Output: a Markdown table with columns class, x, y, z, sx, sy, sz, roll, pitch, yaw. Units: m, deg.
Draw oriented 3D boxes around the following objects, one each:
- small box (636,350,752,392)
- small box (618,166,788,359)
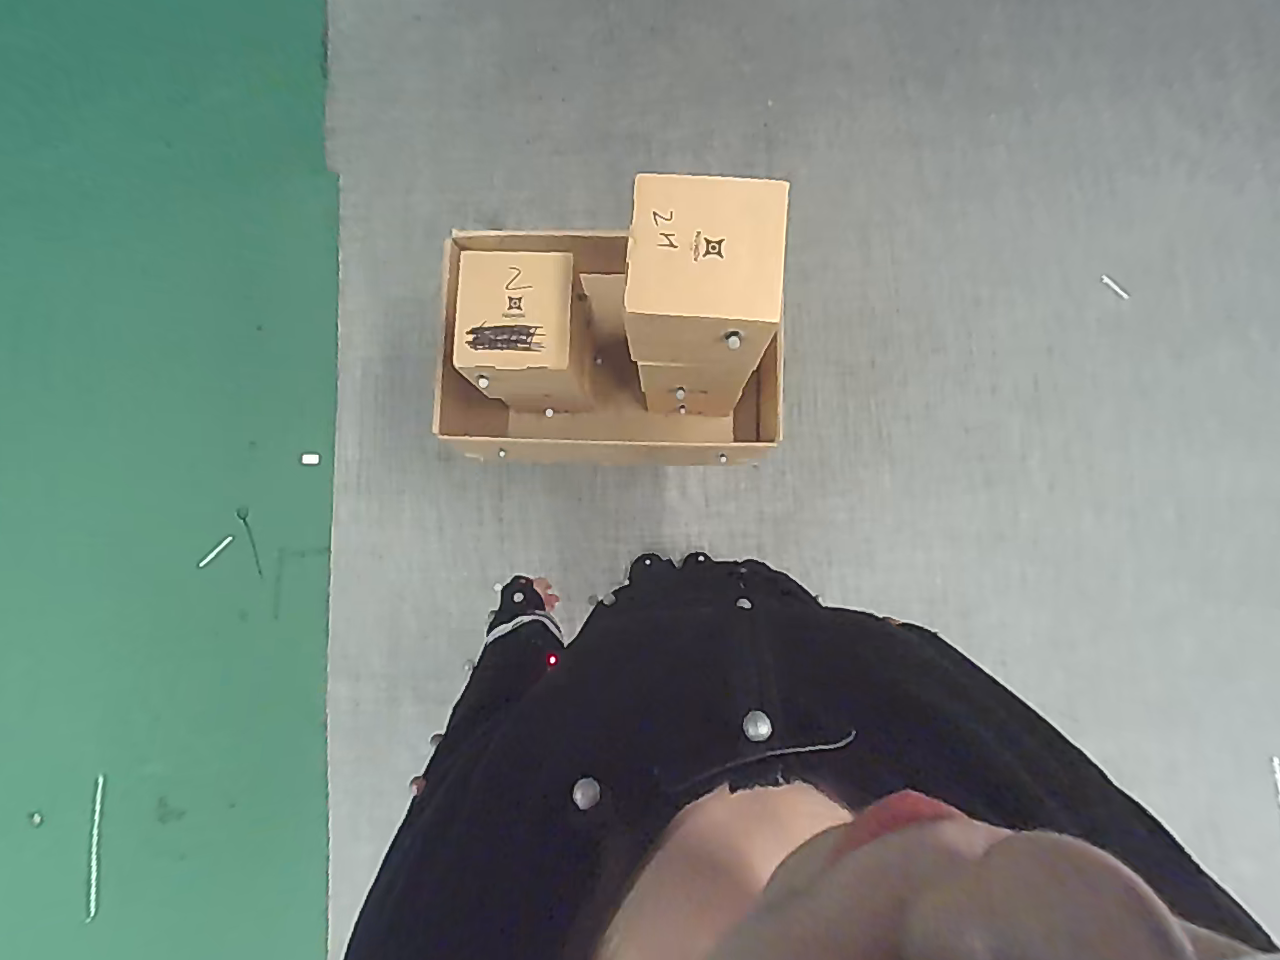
| class | x | y | z | sx | sy | sz | roll | pitch | yaw |
| --- | --- | --- | --- | --- | --- | --- | --- | --- | --- |
| small box | 0.084 | -0.246 | 0.840 | 0.168 | 0.176 | 0.179 | 4 | 85 | 4 |
| small box | 0.075 | -0.258 | 0.675 | 0.179 | 0.176 | 0.168 | 5 | 85 | 5 |
